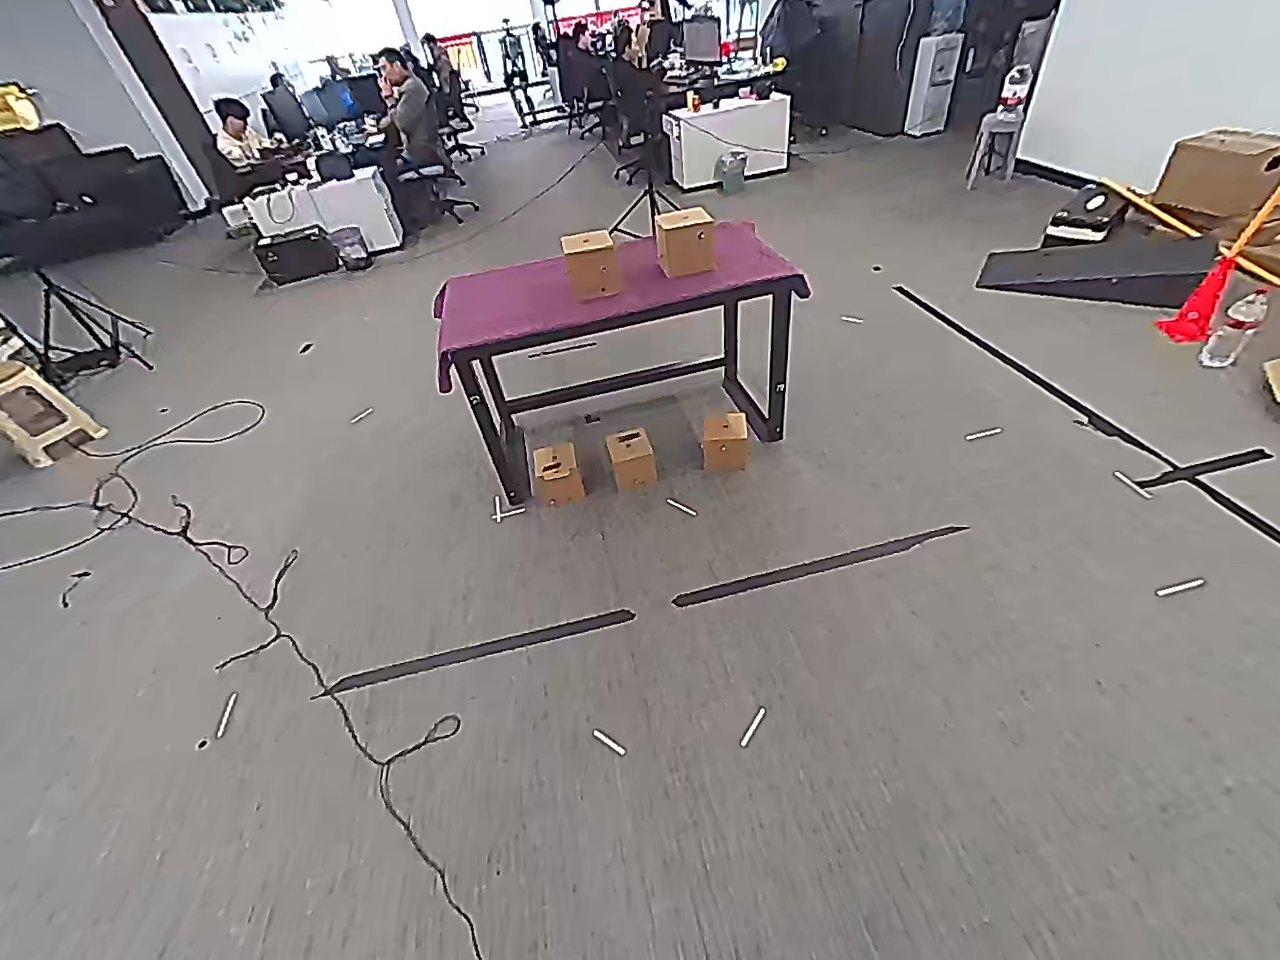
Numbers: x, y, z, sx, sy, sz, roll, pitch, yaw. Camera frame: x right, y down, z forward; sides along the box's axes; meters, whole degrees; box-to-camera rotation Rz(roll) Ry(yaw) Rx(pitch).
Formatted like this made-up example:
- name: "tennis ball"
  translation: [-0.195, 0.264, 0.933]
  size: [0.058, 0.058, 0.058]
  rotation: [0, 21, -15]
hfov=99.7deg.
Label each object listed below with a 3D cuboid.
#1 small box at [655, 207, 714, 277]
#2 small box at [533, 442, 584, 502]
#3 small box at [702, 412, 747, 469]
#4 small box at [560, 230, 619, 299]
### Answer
- name: "small box"
  translation: [0.158, -0.841, 1.912]
  size: [0.179, 0.176, 0.168]
  rotation: [-13, 42, -3]
- name: "small box"
  translation: [-0.331, -0.026, 2.202]
  size: [0.168, 0.176, 0.179]
  rotation: [-13, 42, -4]
- name: "small box"
  translation: [0.347, -0.159, 2.227]
  size: [0.179, 0.176, 0.168]
  rotation: [-3, 44, 8]
- name: "small box"
  translation: [-0.172, -0.739, 1.864]
  size: [0.168, 0.176, 0.179]
  rotation: [-12, 41, -5]
